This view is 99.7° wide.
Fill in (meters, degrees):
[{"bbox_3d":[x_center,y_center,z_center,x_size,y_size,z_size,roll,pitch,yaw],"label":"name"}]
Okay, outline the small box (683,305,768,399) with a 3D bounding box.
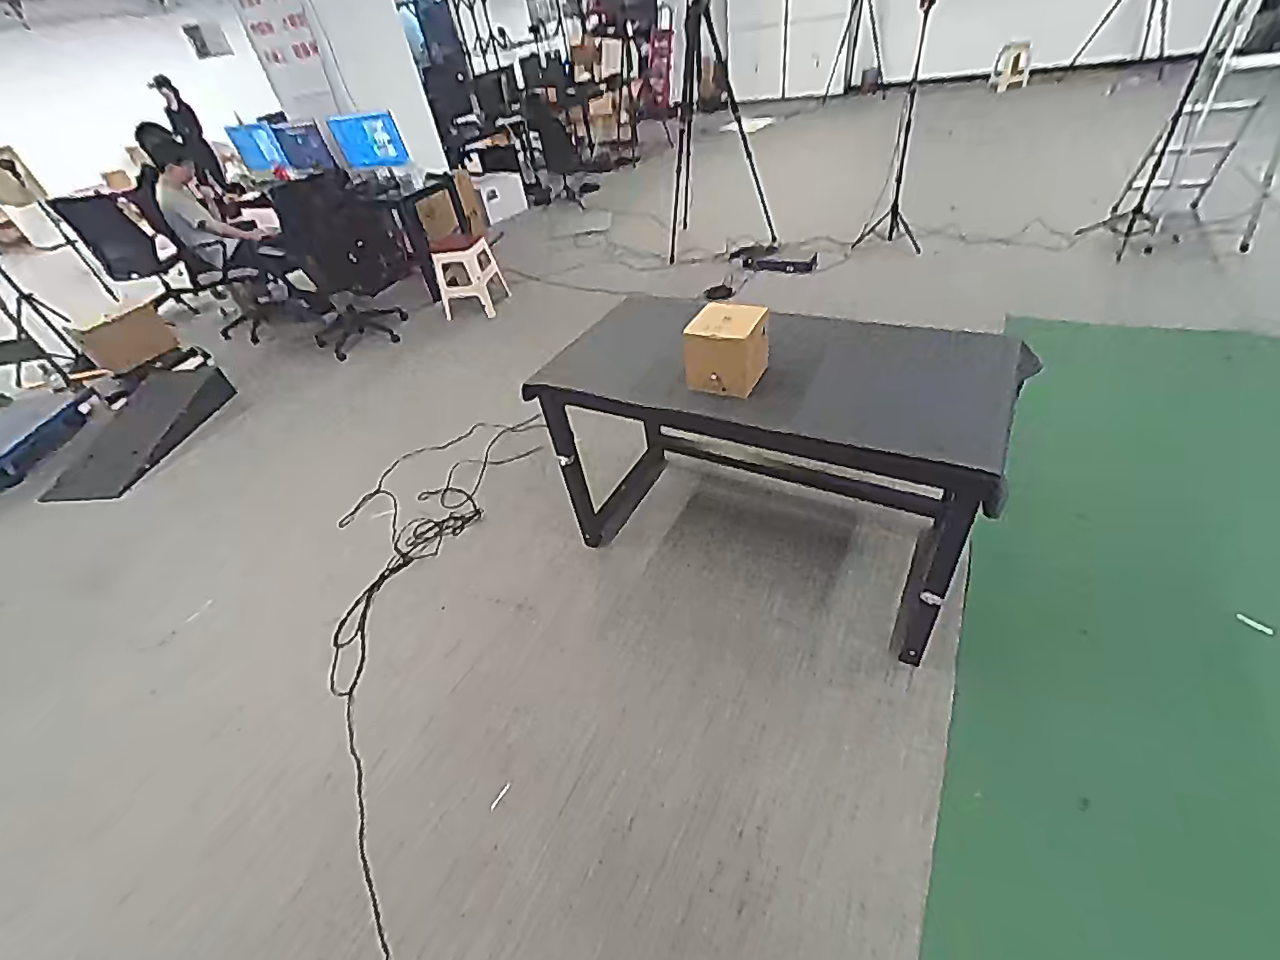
[{"bbox_3d":[0.223,-0.334,1.405,0.168,0.176,0.179,14,46,26],"label":"small box"}]
